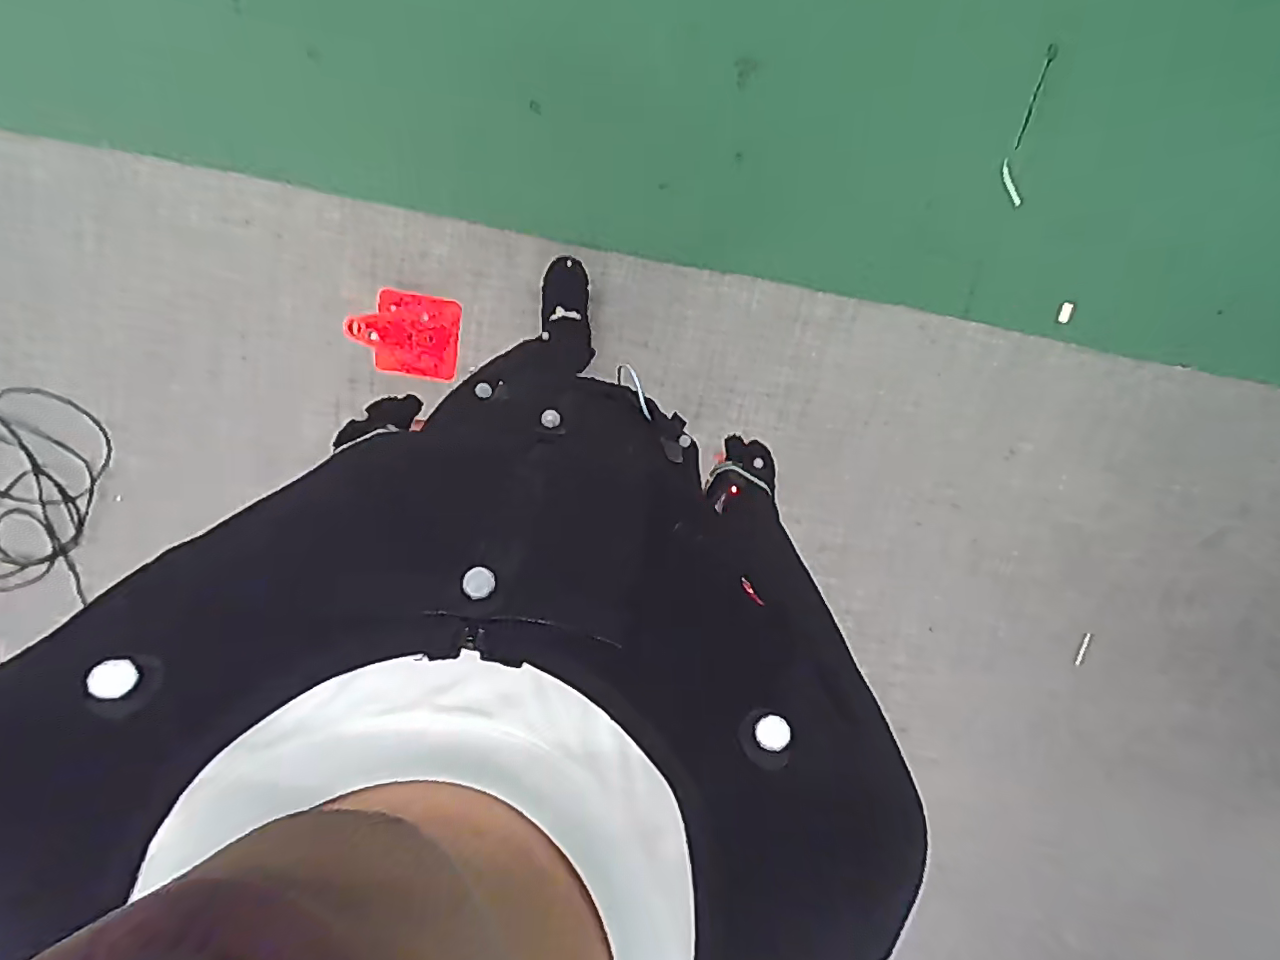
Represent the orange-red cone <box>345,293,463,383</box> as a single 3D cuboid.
[{"bbox_3d":[-0.543,-0.314,1.188,0.198,0.360,0.199,10,103,-5],"label":"orange-red cone"}]
